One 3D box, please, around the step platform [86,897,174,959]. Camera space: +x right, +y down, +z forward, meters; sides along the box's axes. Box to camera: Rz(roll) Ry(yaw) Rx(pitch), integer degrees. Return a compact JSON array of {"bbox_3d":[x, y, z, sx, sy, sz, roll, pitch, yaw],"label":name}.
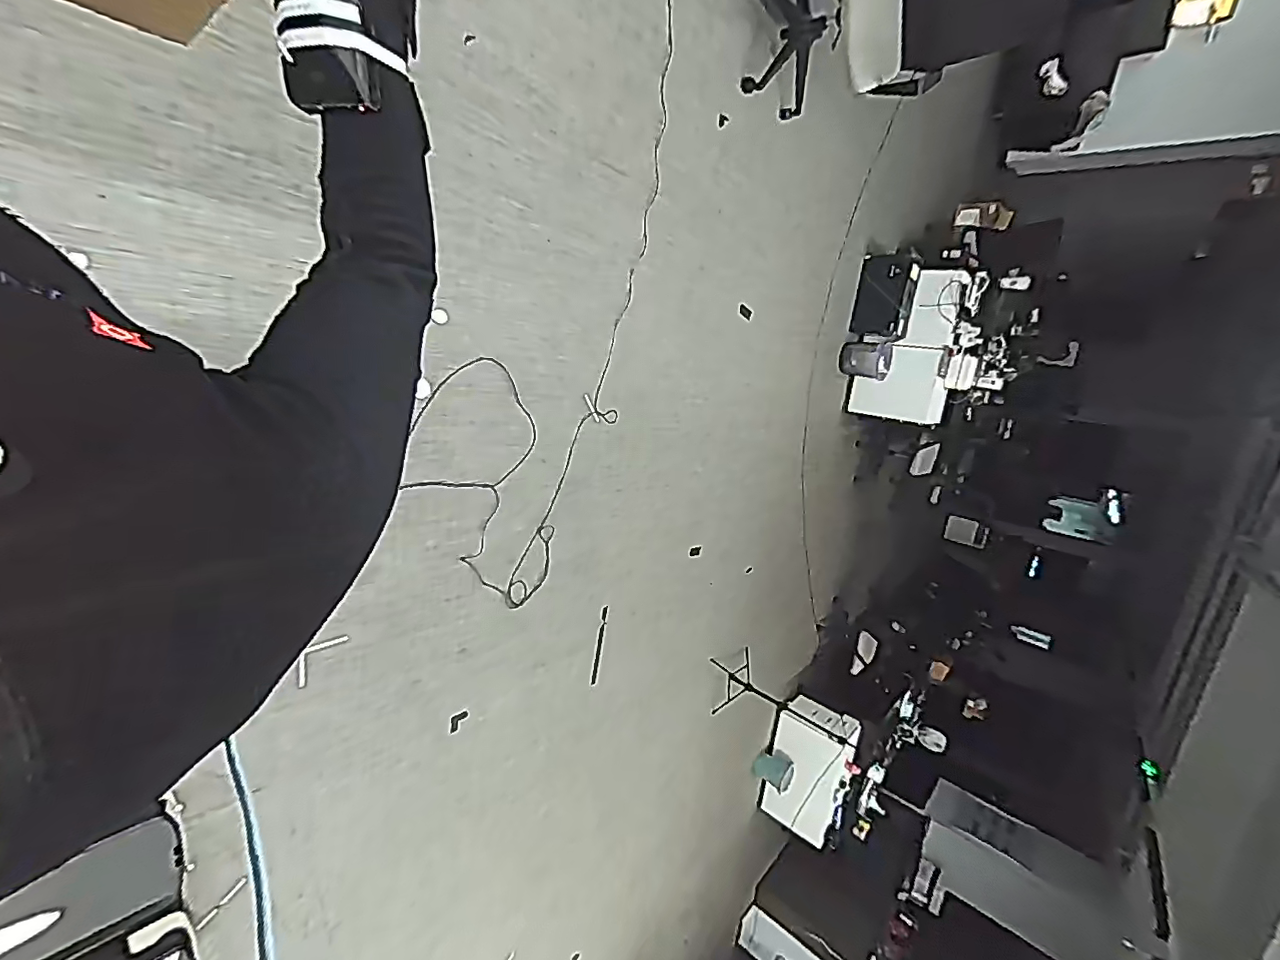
[{"bbox_3d":[-1.391,1.226,1.097,0.684,0.204,0.286,-9,111,-48],"label":"step platform"}]
